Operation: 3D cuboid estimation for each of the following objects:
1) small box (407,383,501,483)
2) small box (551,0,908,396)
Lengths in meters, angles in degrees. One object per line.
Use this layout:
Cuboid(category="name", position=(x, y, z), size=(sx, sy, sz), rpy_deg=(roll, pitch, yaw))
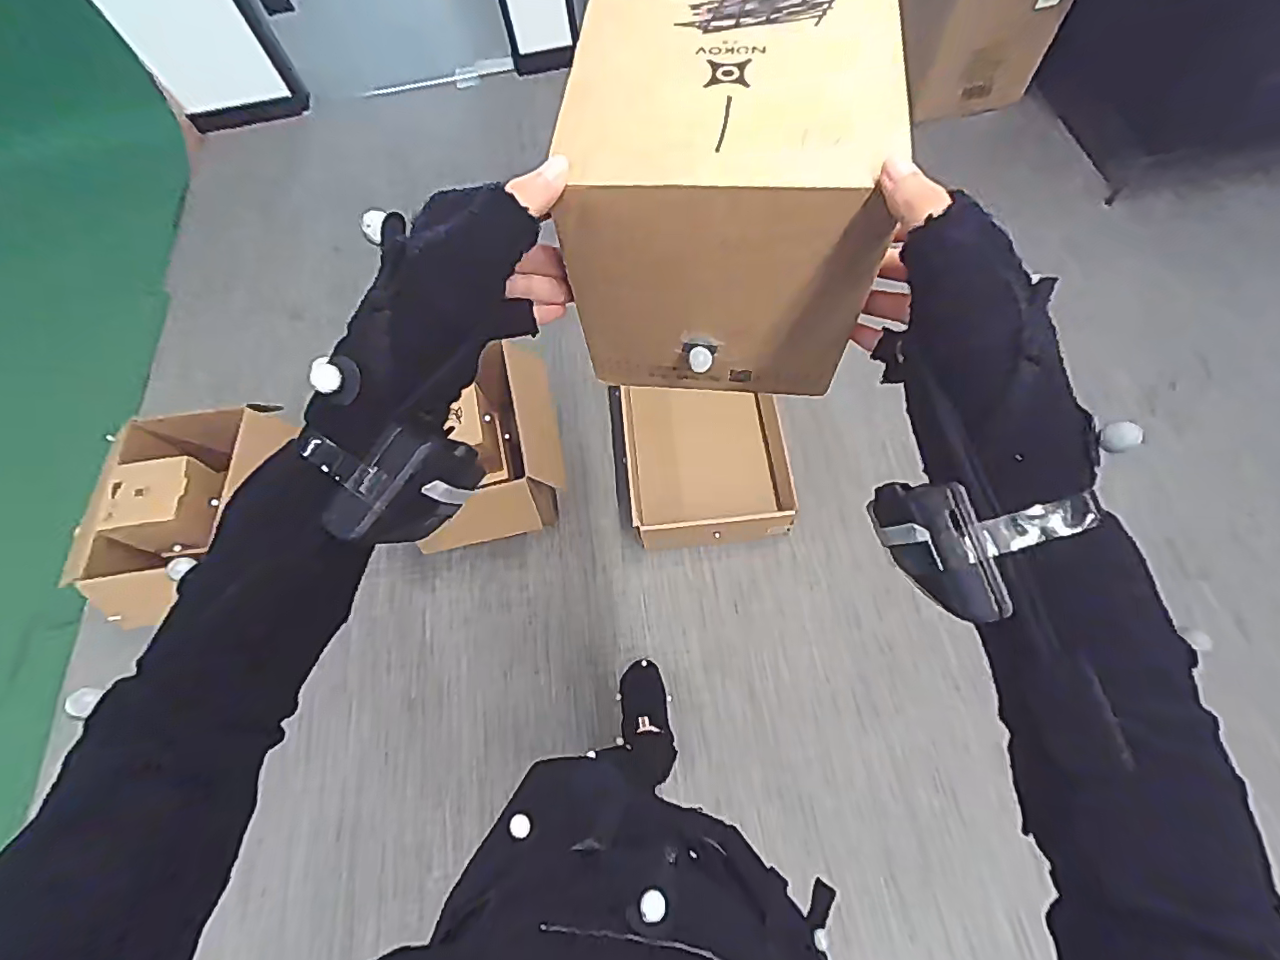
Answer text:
Cuboid(category="small box", position=(-0.449, -0.105, 1.322), size=(0.168, 0.176, 0.179), rpy_deg=(-14, 67, -3))
Cuboid(category="small box", position=(0.054, -0.178, 0.352), size=(0.168, 0.176, 0.179), rpy_deg=(4, 67, 7))
